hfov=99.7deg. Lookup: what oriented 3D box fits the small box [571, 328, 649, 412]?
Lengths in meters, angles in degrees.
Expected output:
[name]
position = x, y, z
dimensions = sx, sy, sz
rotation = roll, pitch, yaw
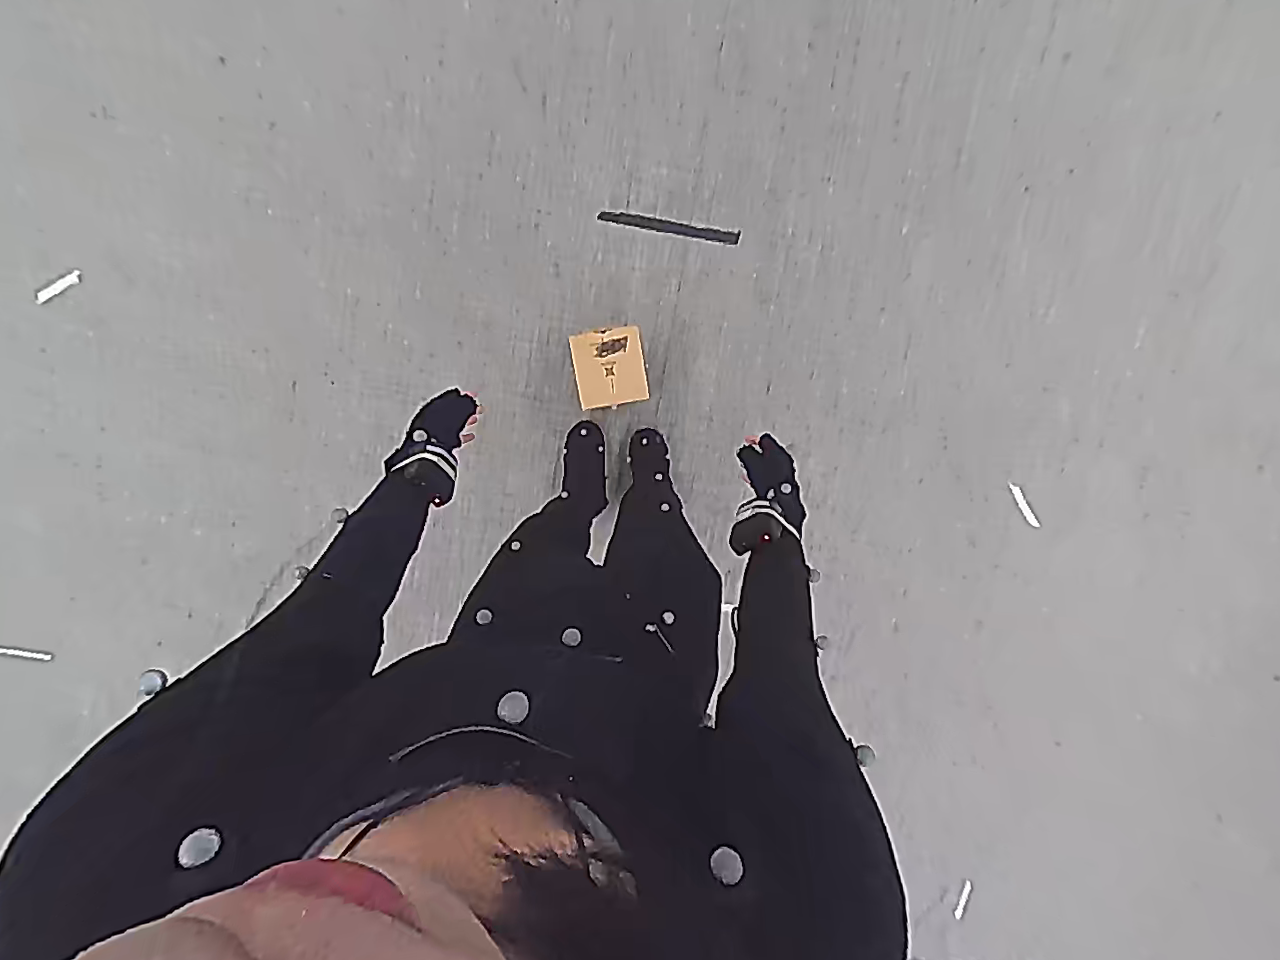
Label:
[small box]
position = -0.074, -0.270, 1.343
dimensions = 0.168, 0.176, 0.179
rotation = -9, 101, 0
